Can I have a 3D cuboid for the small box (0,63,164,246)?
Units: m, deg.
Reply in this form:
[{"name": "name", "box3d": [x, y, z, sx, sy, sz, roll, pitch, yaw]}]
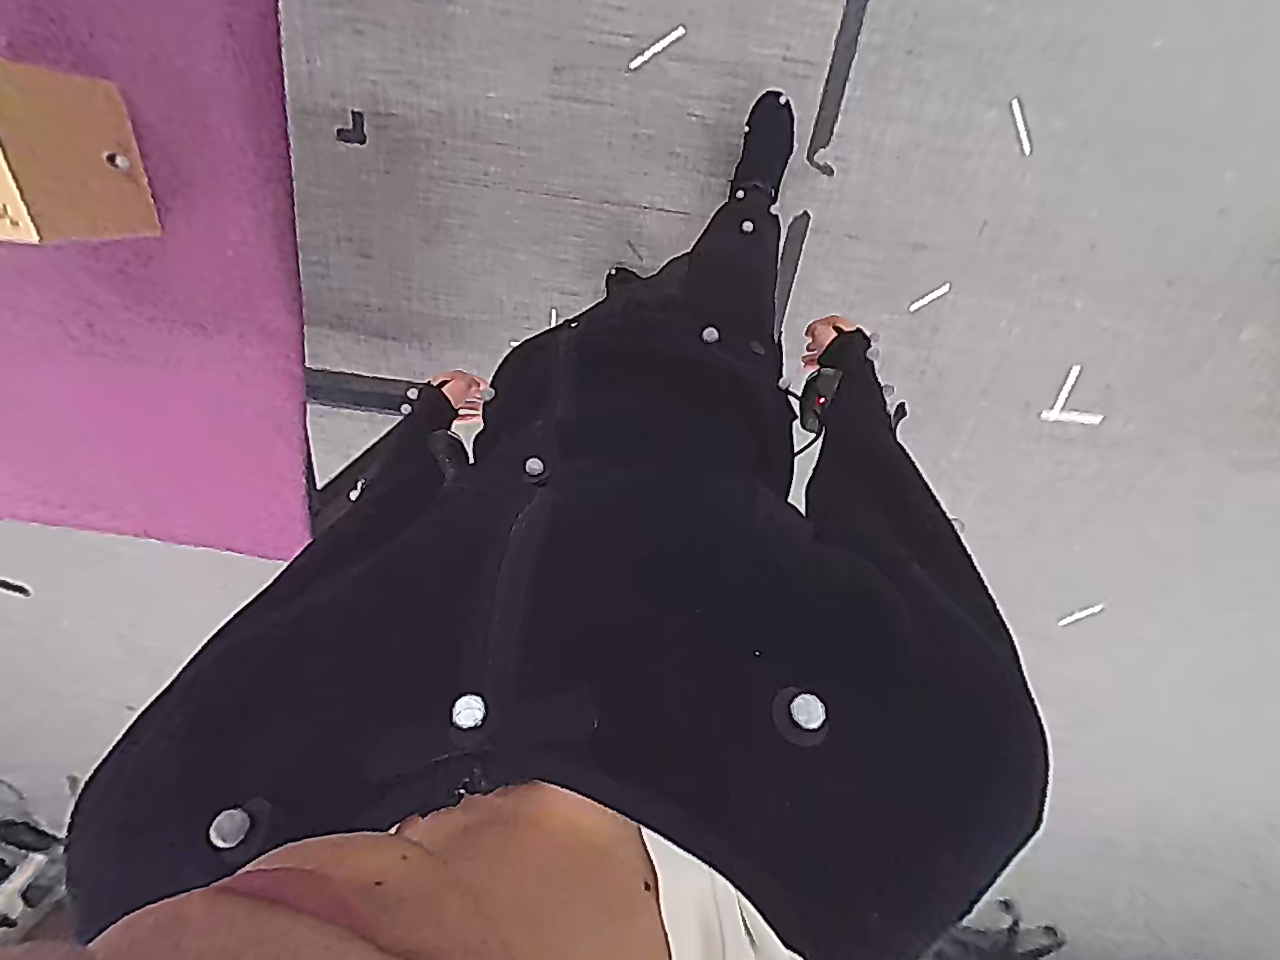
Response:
[{"name": "small box", "box3d": [-0.739, -0.387, 0.649, 0.168, 0.176, 0.179, 6, 117, 2]}]
